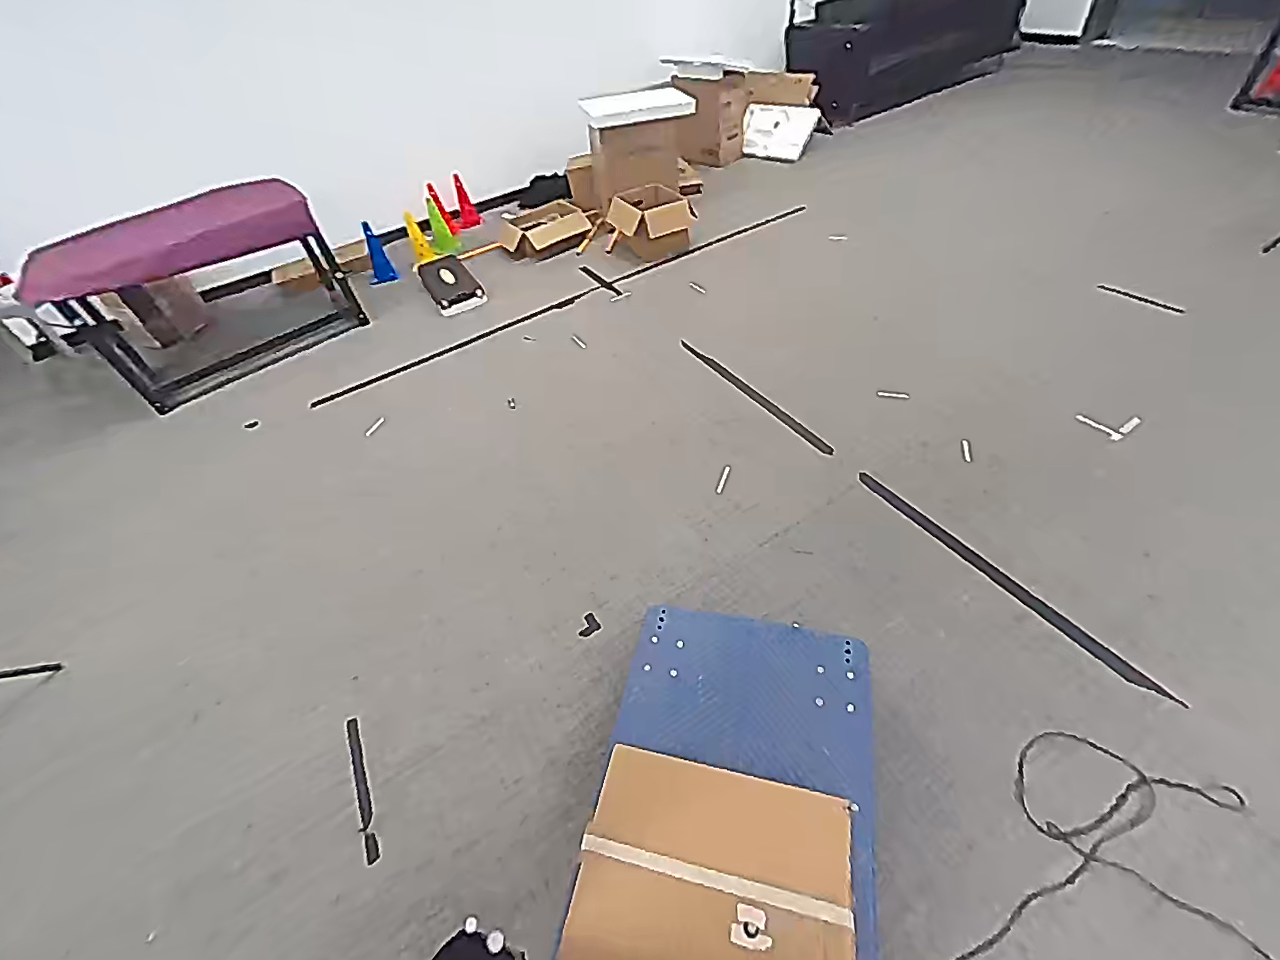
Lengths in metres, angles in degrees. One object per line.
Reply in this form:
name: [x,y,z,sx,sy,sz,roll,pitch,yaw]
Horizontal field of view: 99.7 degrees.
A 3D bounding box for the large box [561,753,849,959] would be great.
large box: [0.121,0.718,0.928,0.408,0.320,0.320,7,48,14]
